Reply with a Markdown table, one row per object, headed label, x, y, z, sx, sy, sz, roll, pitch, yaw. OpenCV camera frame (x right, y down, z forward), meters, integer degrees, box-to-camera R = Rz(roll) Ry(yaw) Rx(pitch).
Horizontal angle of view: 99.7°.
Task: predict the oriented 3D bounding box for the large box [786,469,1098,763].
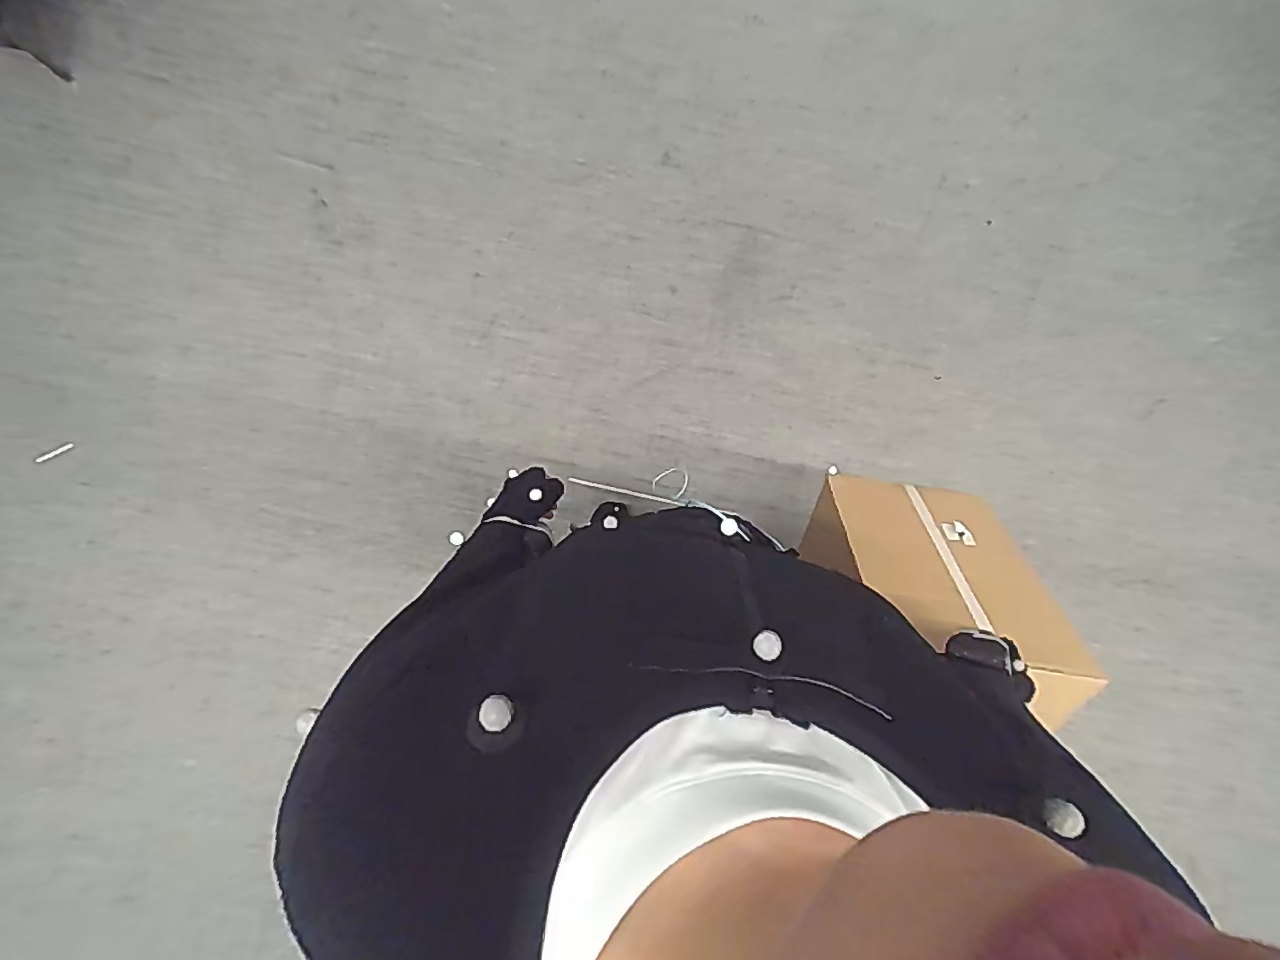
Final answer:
| label | x | y | z | sx | sy | sz | roll | pitch | yaw |
| --- | --- | --- | --- | --- | --- | --- | --- | --- | --- |
| large box | 0.481 | 0.234 | 0.986 | 0.320 | 0.408 | 0.320 | 9 | 127 | -1 |
